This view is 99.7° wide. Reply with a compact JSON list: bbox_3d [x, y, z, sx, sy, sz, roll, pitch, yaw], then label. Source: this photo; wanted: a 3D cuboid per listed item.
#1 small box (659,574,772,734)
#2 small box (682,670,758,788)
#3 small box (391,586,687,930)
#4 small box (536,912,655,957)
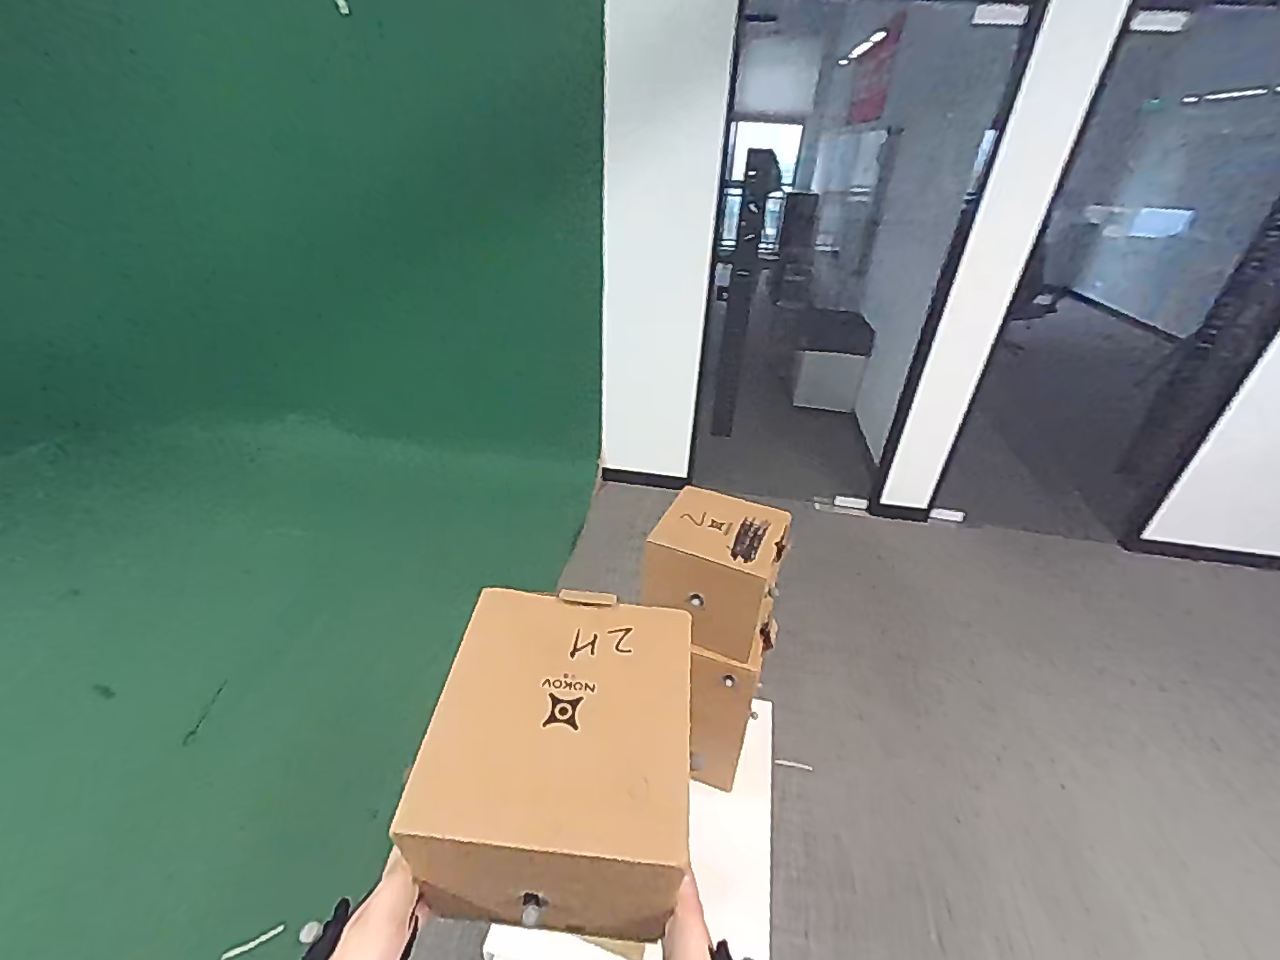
[{"bbox_3d":[0.110,0.290,0.906,0.179,0.176,0.168,13,33,14],"label":"small box"},{"bbox_3d":[0.107,0.427,0.993,0.179,0.176,0.168,12,33,15],"label":"small box"},{"bbox_3d":[-0.058,0.209,0.411,0.168,0.176,0.179,7,38,0],"label":"small box"},{"bbox_3d":[-0.051,0.543,0.788,0.179,0.176,0.168,13,32,13],"label":"small box"}]
